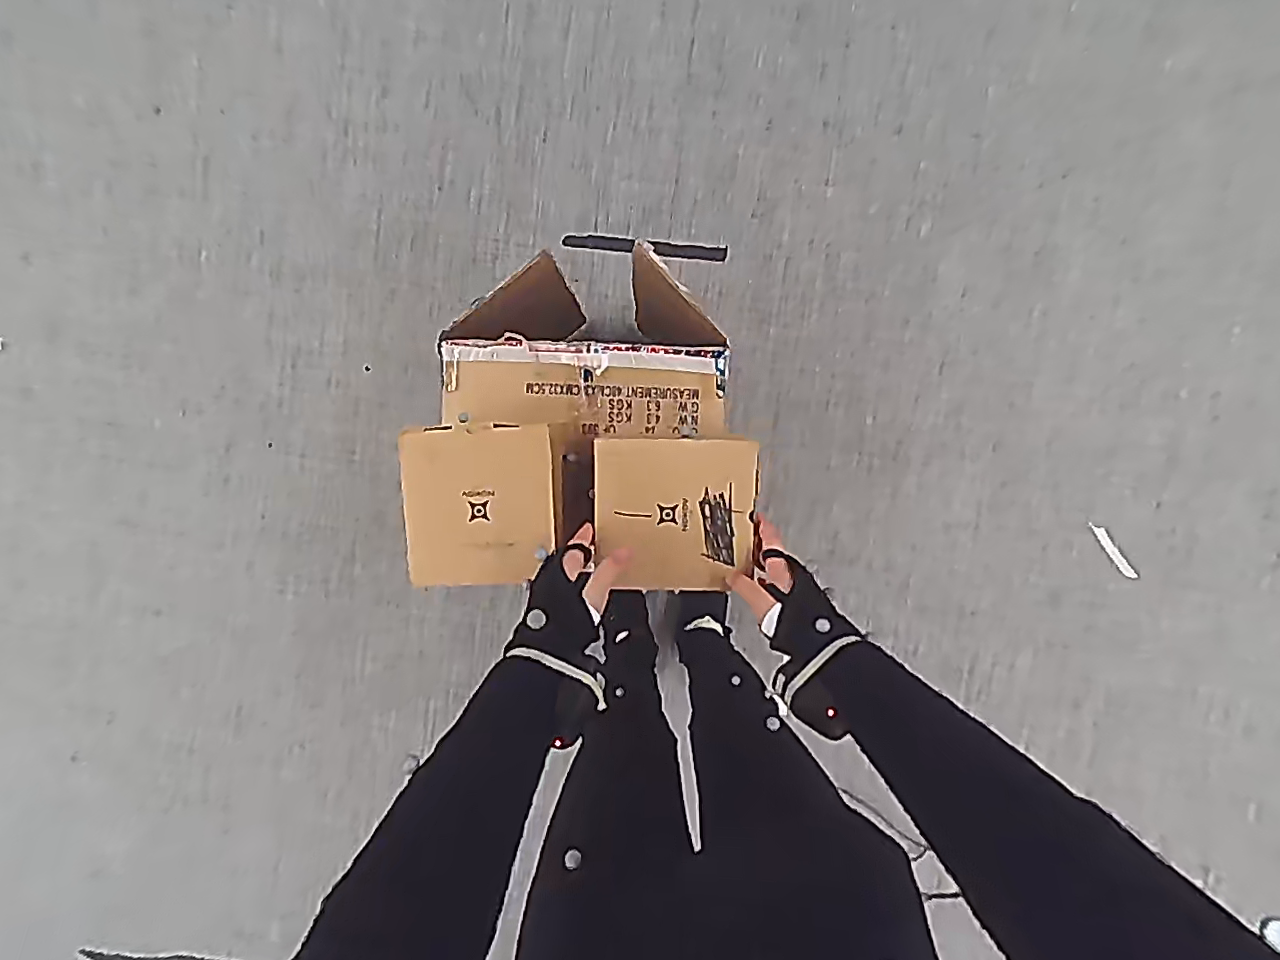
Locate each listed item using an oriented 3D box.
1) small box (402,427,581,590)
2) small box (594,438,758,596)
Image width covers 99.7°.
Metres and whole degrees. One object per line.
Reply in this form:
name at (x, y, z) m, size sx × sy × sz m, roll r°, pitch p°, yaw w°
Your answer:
small box at (-0.169, 0.024, 0.665) m, size 0.168 × 0.176 × 0.179 m, roll -3°, pitch 98°, yaw 3°
small box at (0.037, 0.035, 0.662) m, size 0.179 × 0.176 × 0.168 m, roll 1°, pitch 96°, yaw 0°
